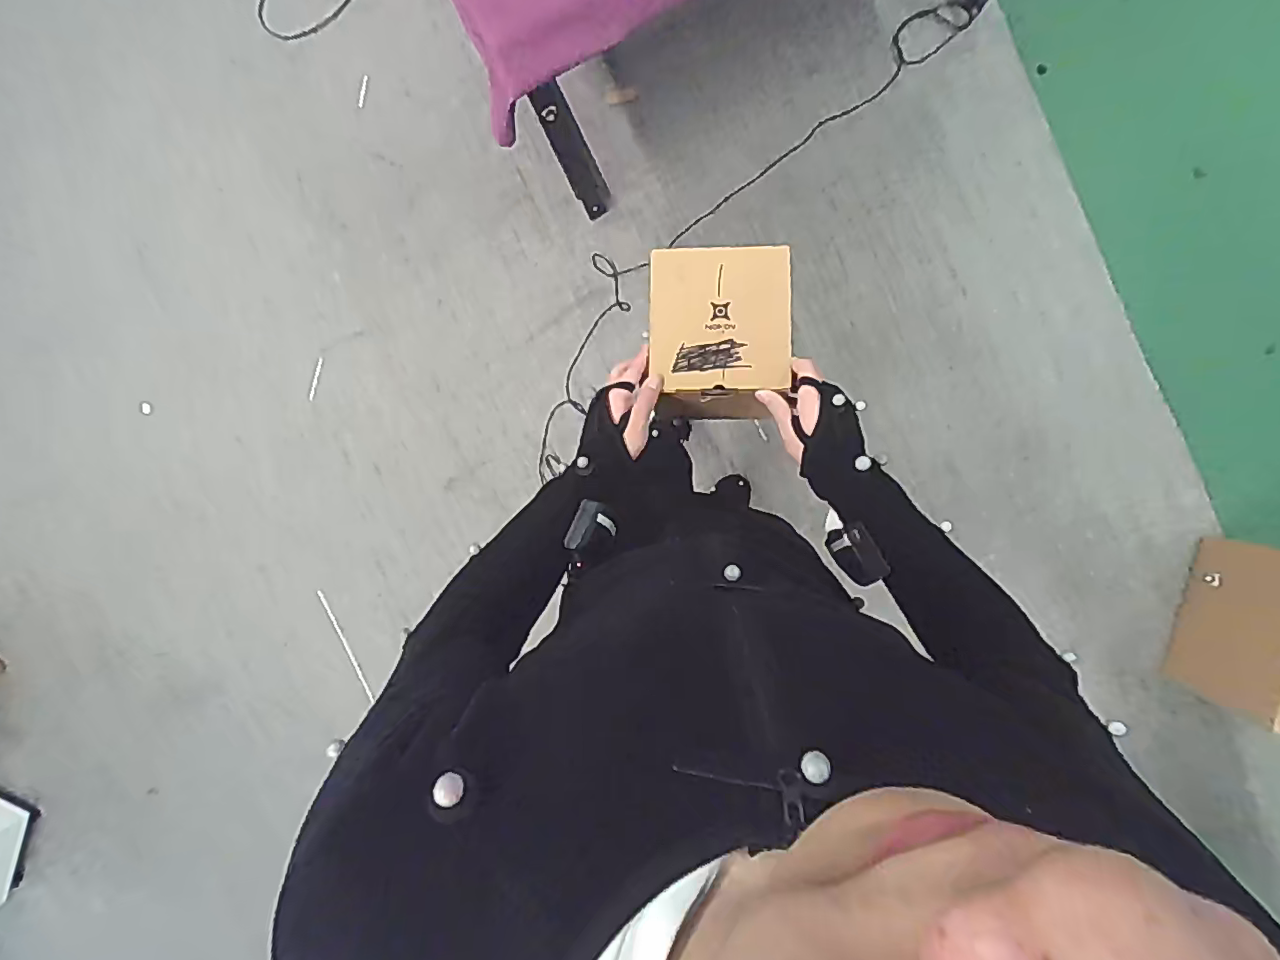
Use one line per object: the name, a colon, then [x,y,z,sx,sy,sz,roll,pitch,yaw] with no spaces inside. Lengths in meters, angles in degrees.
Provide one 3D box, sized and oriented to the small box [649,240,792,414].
small box: [0.101,-0.185,0.704,0.168,0.176,0.179,0,84,5]
